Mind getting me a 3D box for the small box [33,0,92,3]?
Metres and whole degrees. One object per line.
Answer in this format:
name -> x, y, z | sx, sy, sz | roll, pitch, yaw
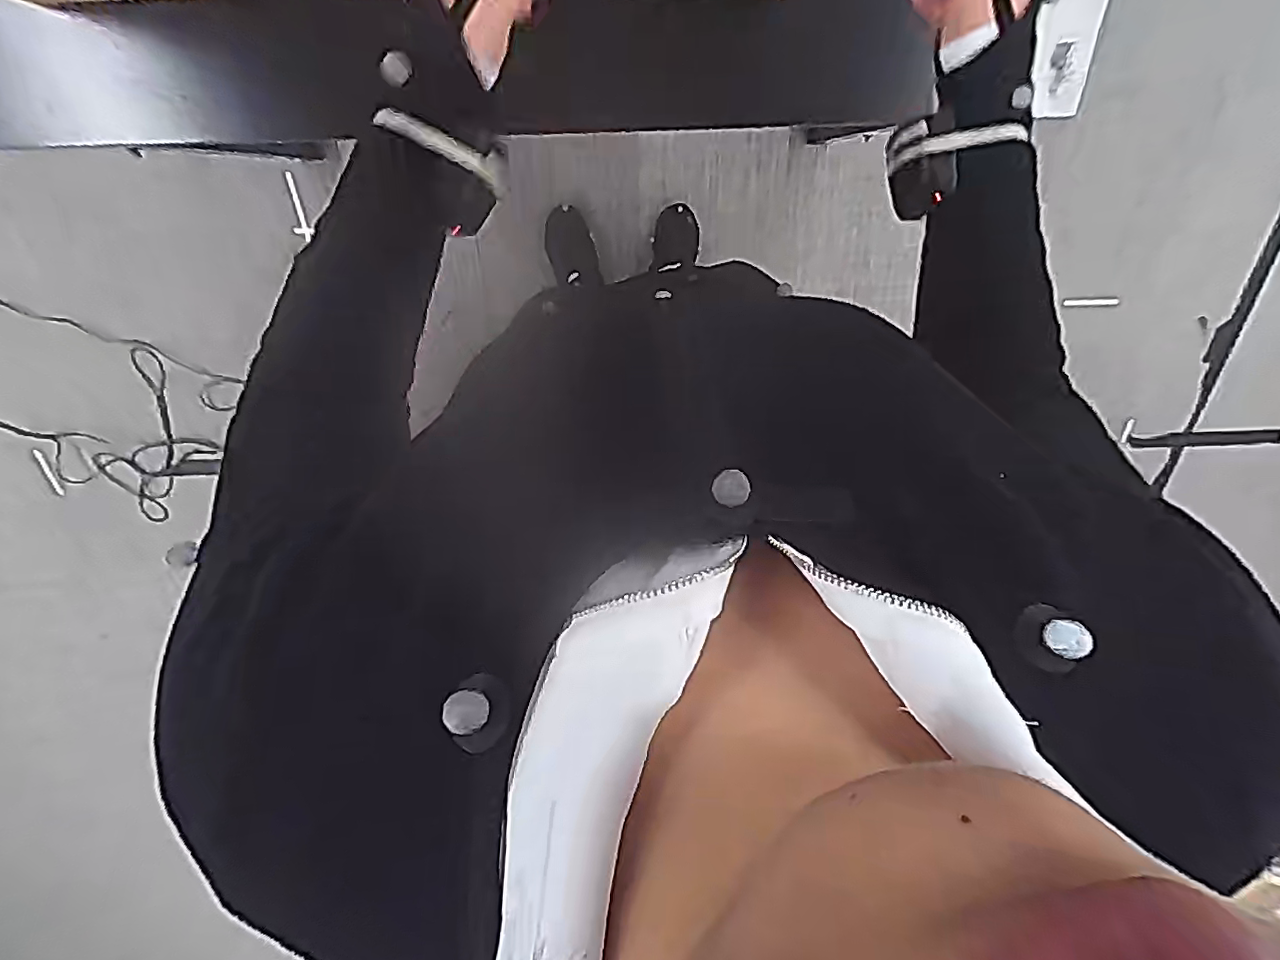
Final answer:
small box -> -0.488, -0.488, 0.403 | 0.179, 0.176, 0.168 | -5, 119, -1
